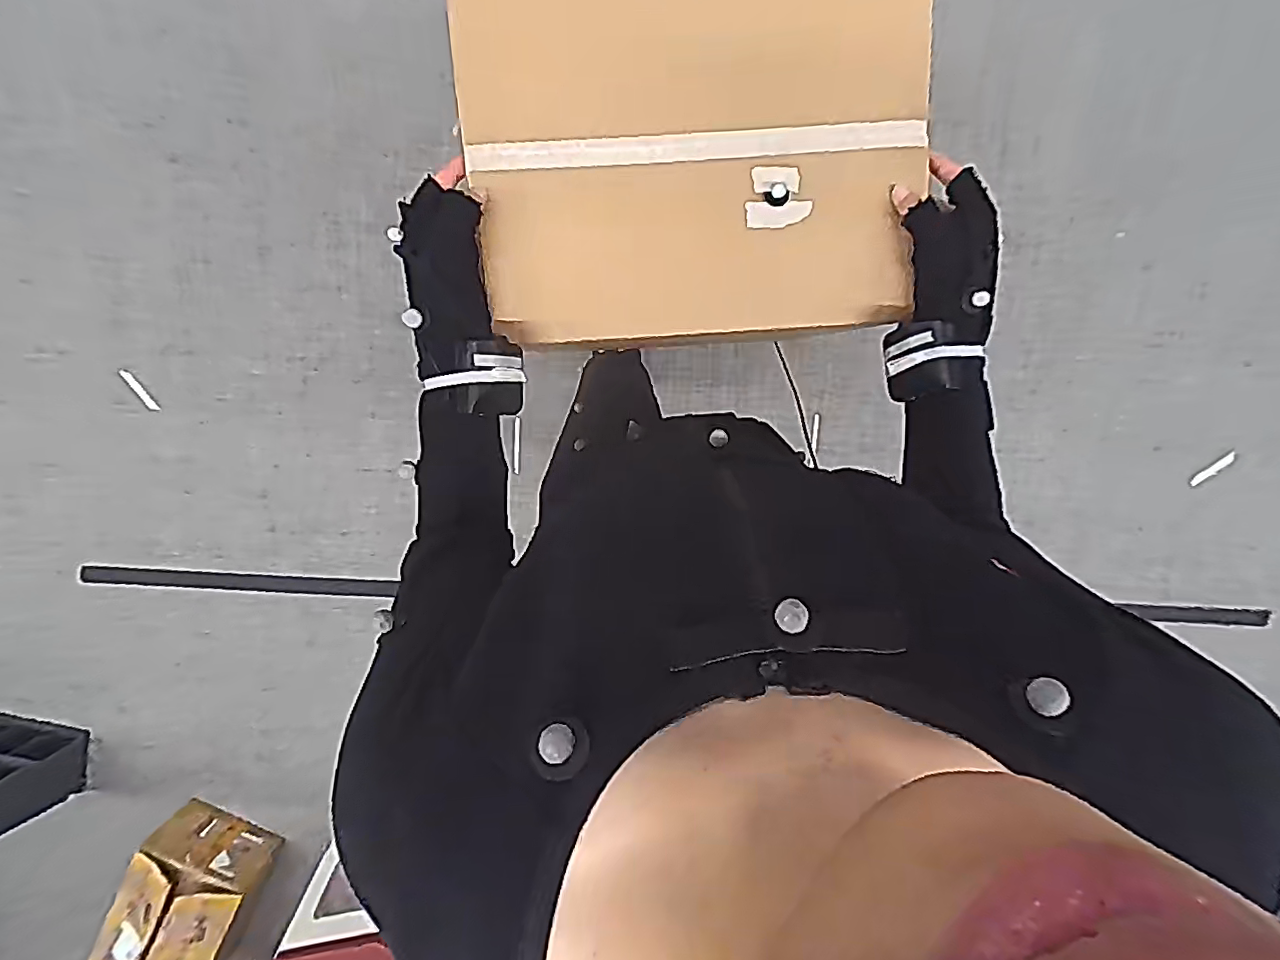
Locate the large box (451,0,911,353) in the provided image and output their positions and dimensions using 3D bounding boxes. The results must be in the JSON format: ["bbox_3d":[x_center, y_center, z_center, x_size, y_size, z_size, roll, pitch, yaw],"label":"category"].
[{"bbox_3d":[0.038,-0.327,0.633,0.408,0.320,0.320,-4,102,-2],"label":"large box"}]
